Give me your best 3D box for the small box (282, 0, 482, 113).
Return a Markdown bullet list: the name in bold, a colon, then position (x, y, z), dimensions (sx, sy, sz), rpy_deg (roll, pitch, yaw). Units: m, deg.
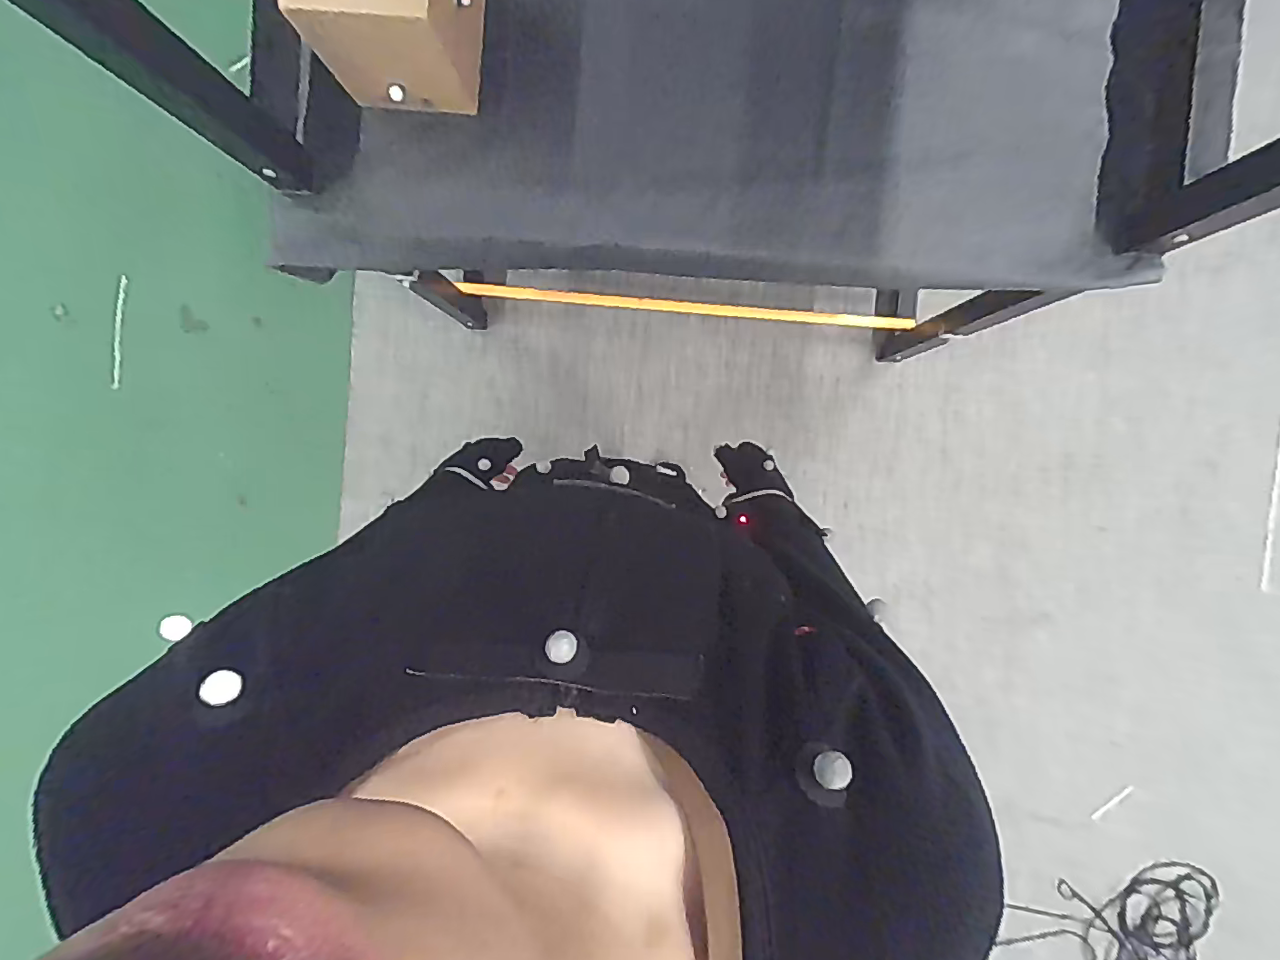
- **small box**: position (-0.299, -0.593, 0.656), dimensions (0.168, 0.176, 0.179), rpy_deg (5, 93, 1)
